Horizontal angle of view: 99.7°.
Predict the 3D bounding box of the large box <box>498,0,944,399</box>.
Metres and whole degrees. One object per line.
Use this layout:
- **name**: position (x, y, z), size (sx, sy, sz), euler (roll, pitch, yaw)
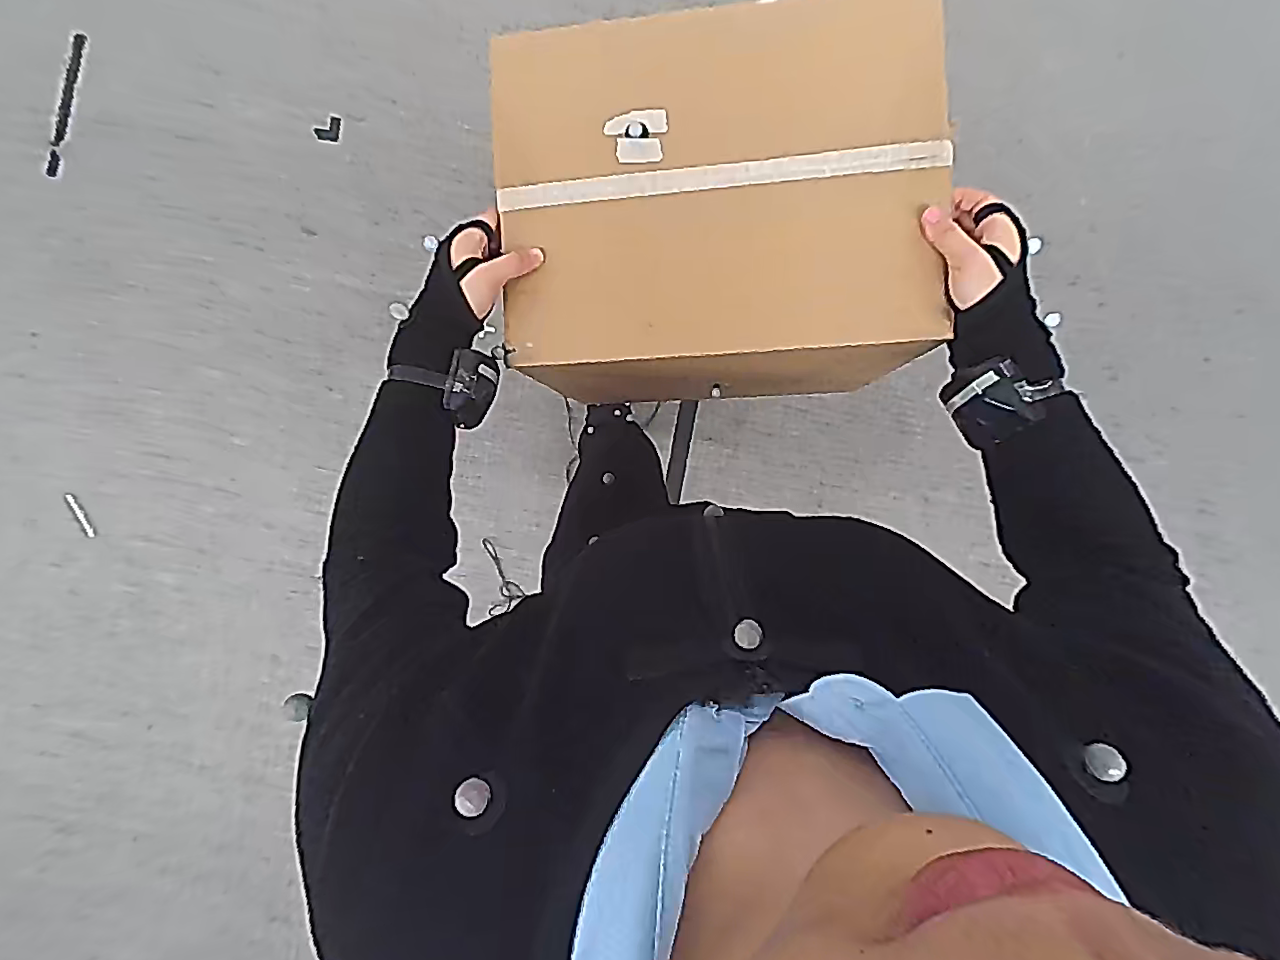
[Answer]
- **large box**: position (0.086, -0.280, 0.649), size (0.408, 0.320, 0.320), euler (-3, 90, 8)
